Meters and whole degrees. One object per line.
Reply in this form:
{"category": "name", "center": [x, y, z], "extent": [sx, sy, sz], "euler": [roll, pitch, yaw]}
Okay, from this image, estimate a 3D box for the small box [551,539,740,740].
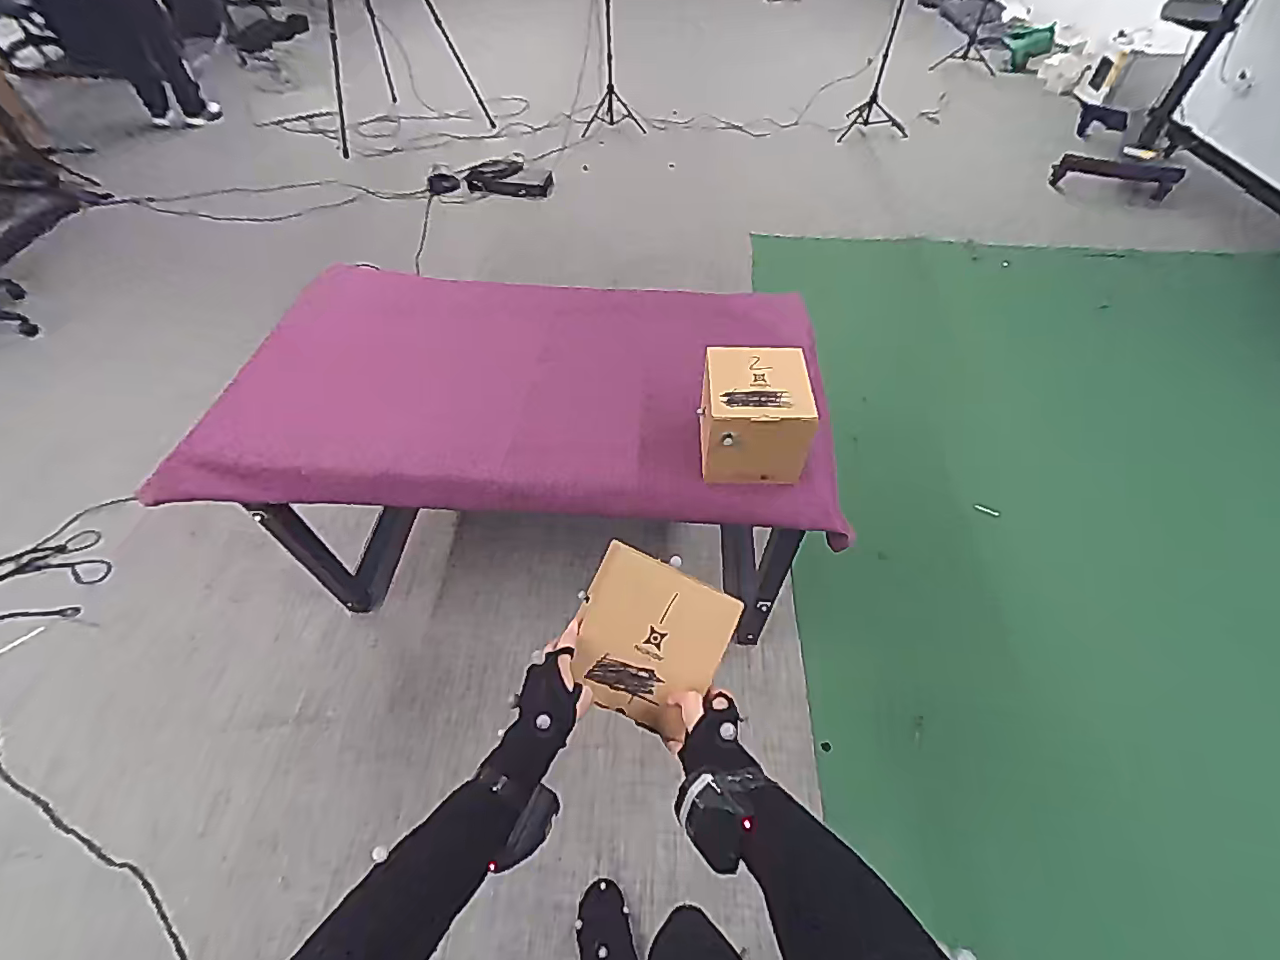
{"category": "small box", "center": [0.003, 0.188, 0.694], "extent": [0.168, 0.176, 0.179], "euler": [26, 83, -3]}
